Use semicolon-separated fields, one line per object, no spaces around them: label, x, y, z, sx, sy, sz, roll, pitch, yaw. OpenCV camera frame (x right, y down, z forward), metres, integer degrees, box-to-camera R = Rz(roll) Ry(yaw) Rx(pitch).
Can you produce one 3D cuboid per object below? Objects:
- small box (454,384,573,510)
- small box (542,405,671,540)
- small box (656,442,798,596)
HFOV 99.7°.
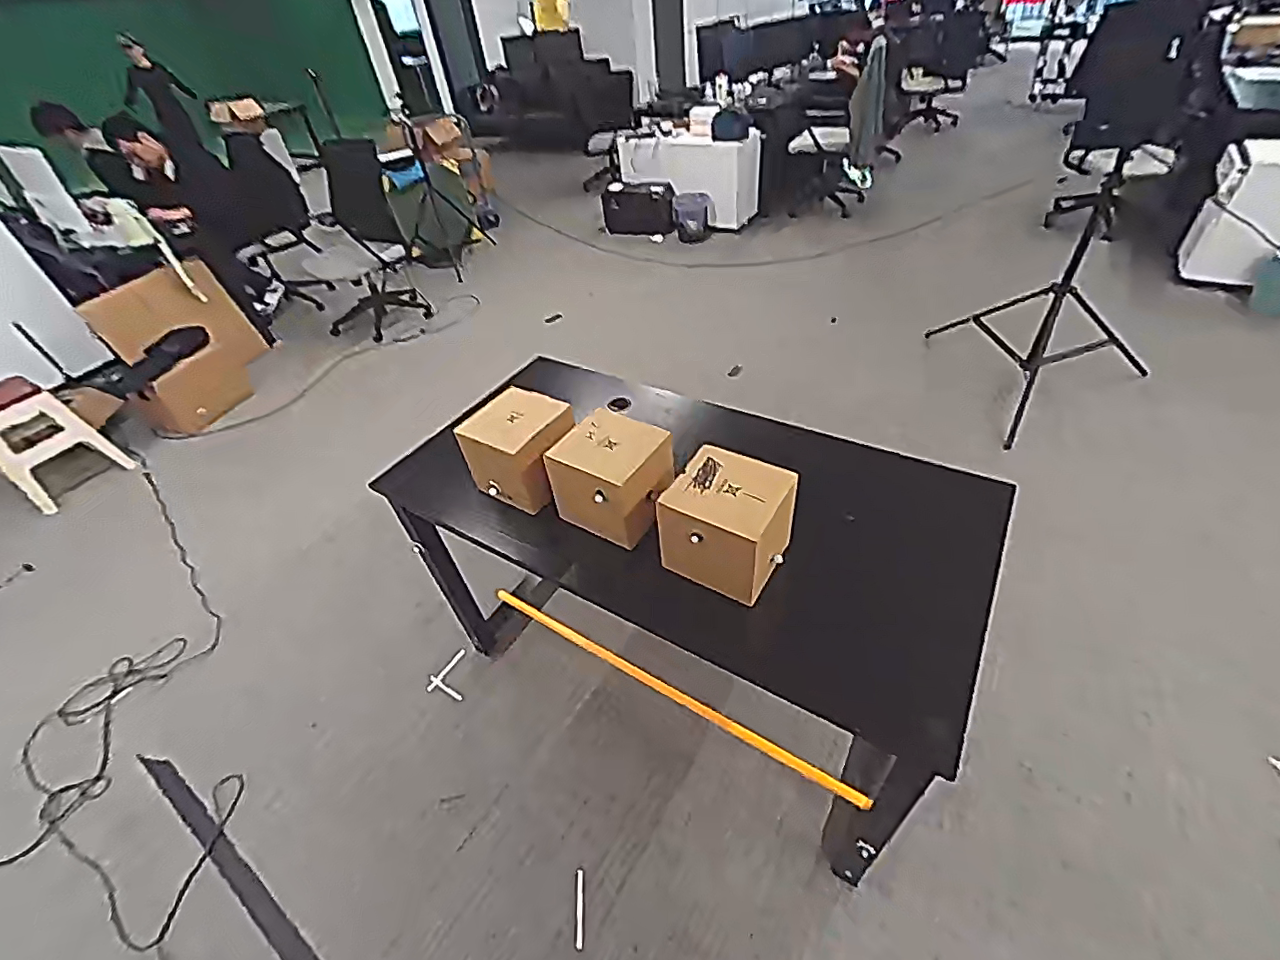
small box;-0.245;-0.069;1.119;0.168;0.176;0.179;19;50;27
small box;-0.053;-0.012;1.028;0.179;0.176;0.168;21;49;27
small box;0.146;0.067;0.916;0.179;0.176;0.168;21;50;27
